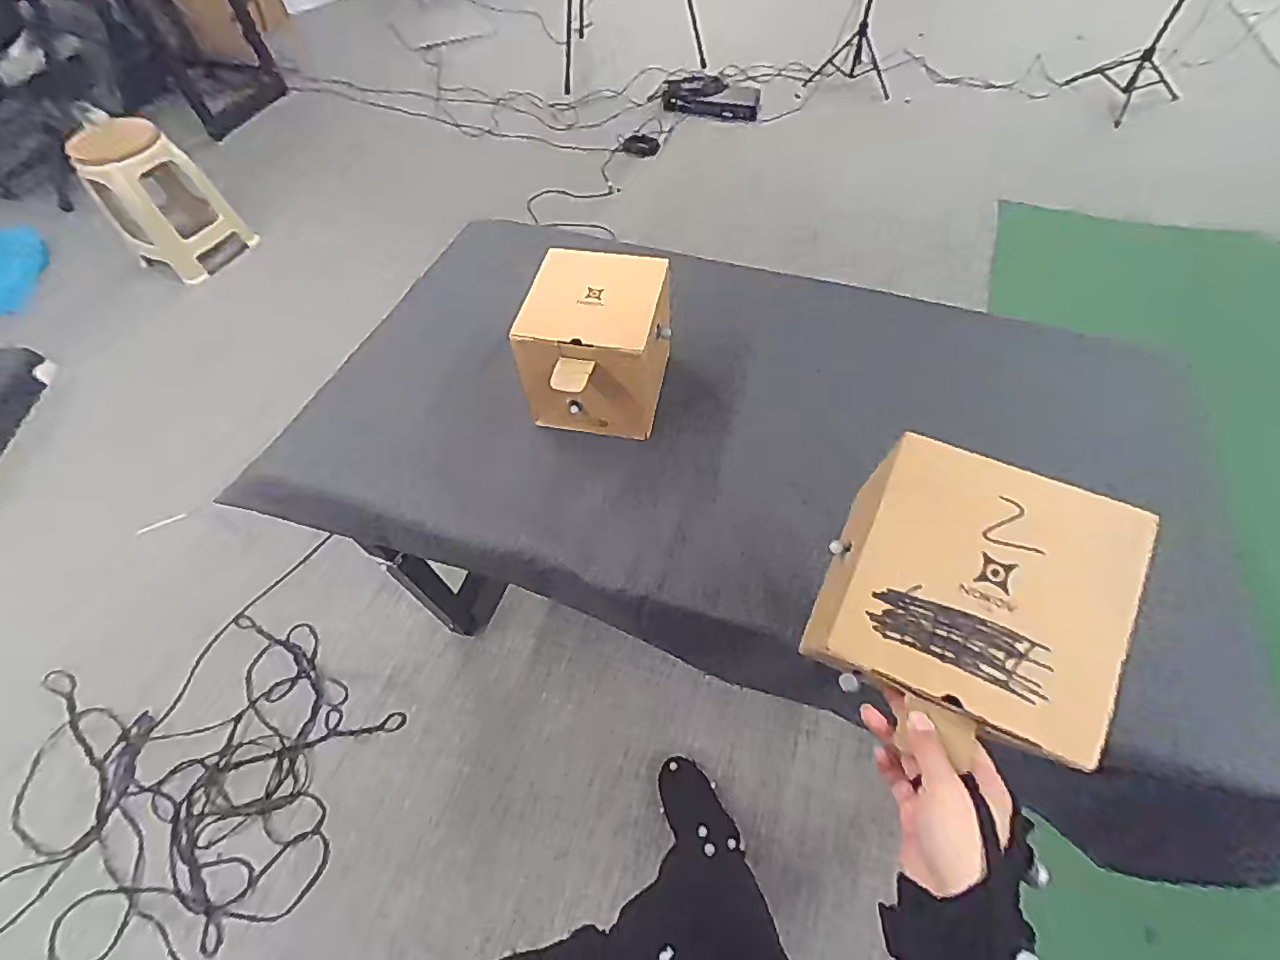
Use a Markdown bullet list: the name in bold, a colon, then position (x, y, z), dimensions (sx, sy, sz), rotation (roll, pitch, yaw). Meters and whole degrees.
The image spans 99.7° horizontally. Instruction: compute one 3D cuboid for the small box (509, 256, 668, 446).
- **small box**: position (-0.059, -0.172, 0.735), dimensions (0.168, 0.176, 0.179), rotation (8, 57, 7)
